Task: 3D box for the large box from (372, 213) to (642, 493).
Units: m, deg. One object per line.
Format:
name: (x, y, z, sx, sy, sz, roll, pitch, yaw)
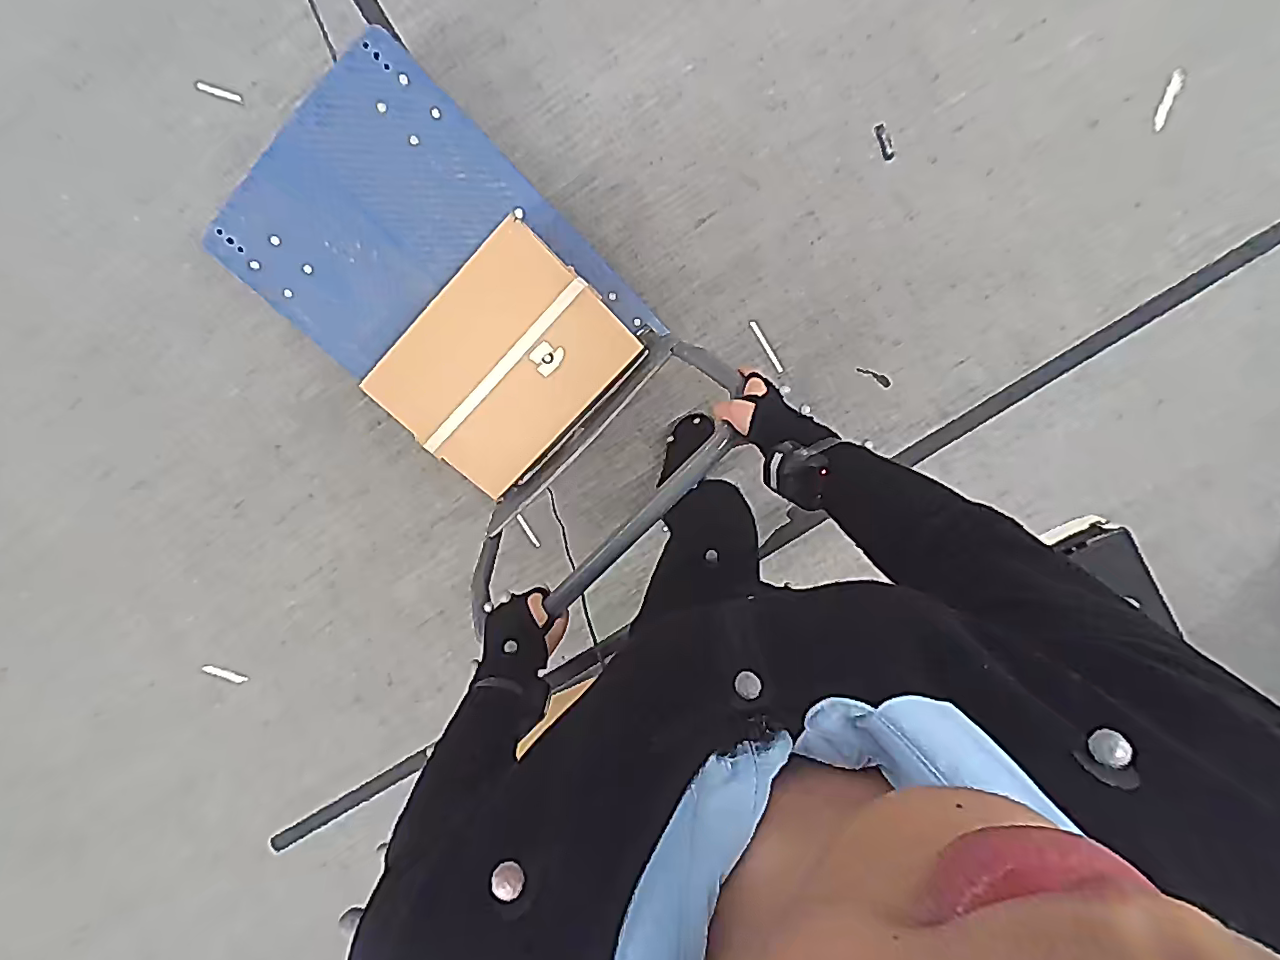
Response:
large box: (-0.251, -0.248, 1.111, 0.320, 0.320, 0.408, 43, 97, -16)
